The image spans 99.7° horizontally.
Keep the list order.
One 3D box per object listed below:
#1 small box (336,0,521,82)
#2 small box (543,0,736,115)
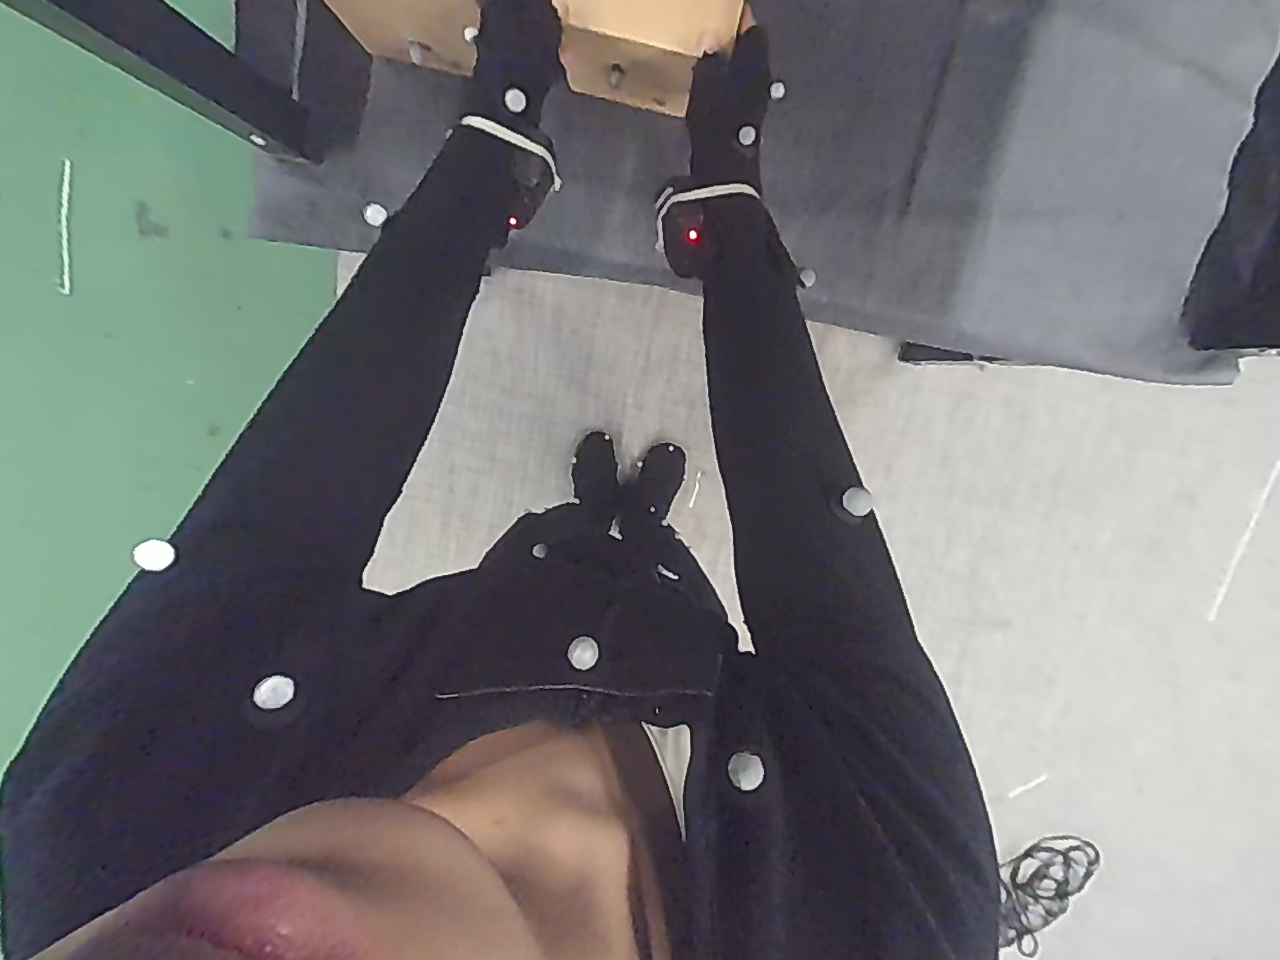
[{"bbox_3d":[-0.209,-0.532,0.515,0.168,0.176,0.179,11,102,-3],"label":"small box"},{"bbox_3d":[0.013,-0.489,0.523,0.168,0.176,0.179,11,107,-3],"label":"small box"}]
